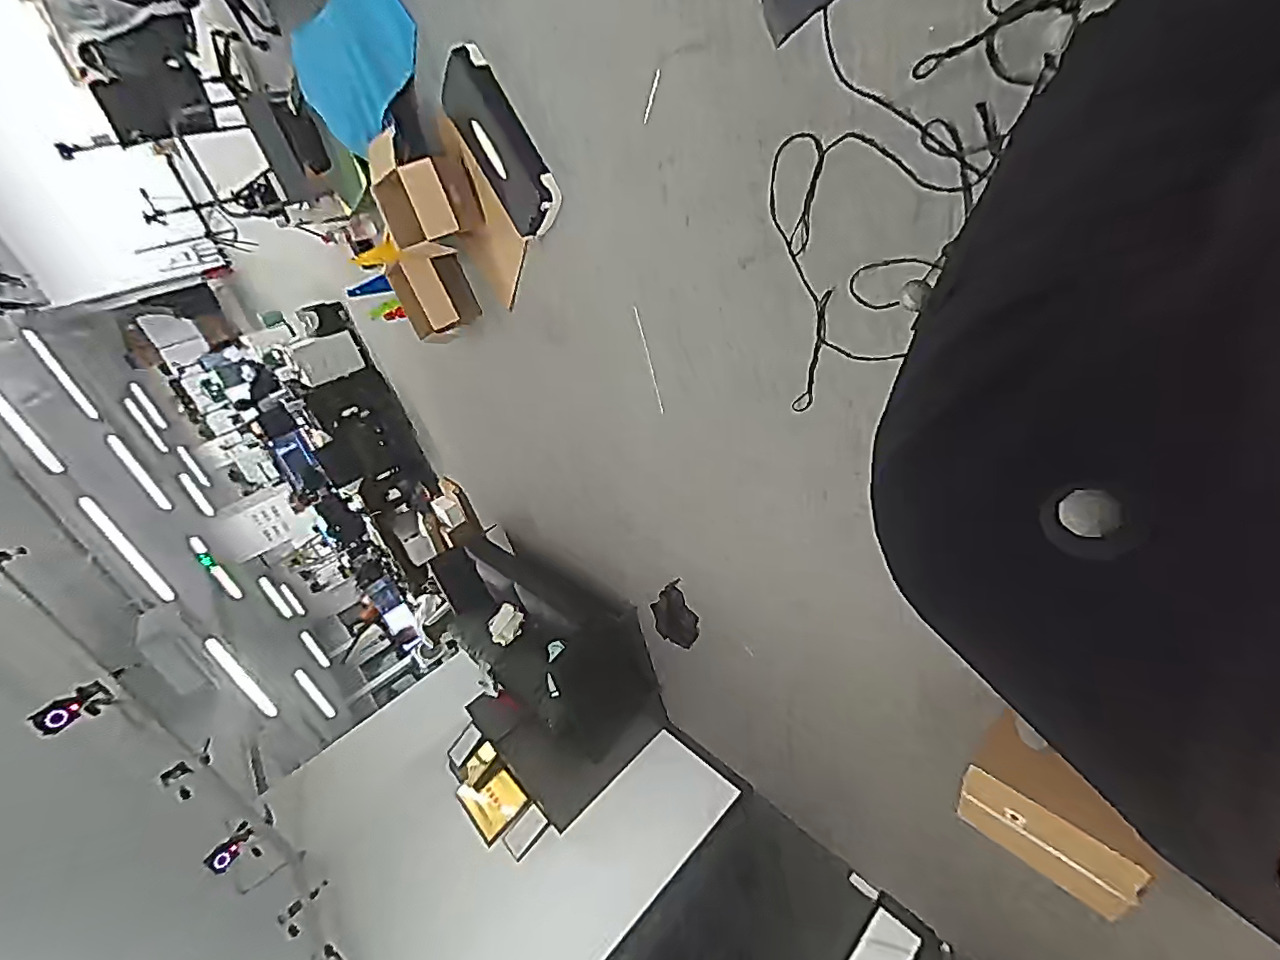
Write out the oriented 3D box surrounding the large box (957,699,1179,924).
[{"bbox_3d":[1.215,0.933,1.566,0.408,0.320,0.320,26,138,44],"label":"large box"}]
